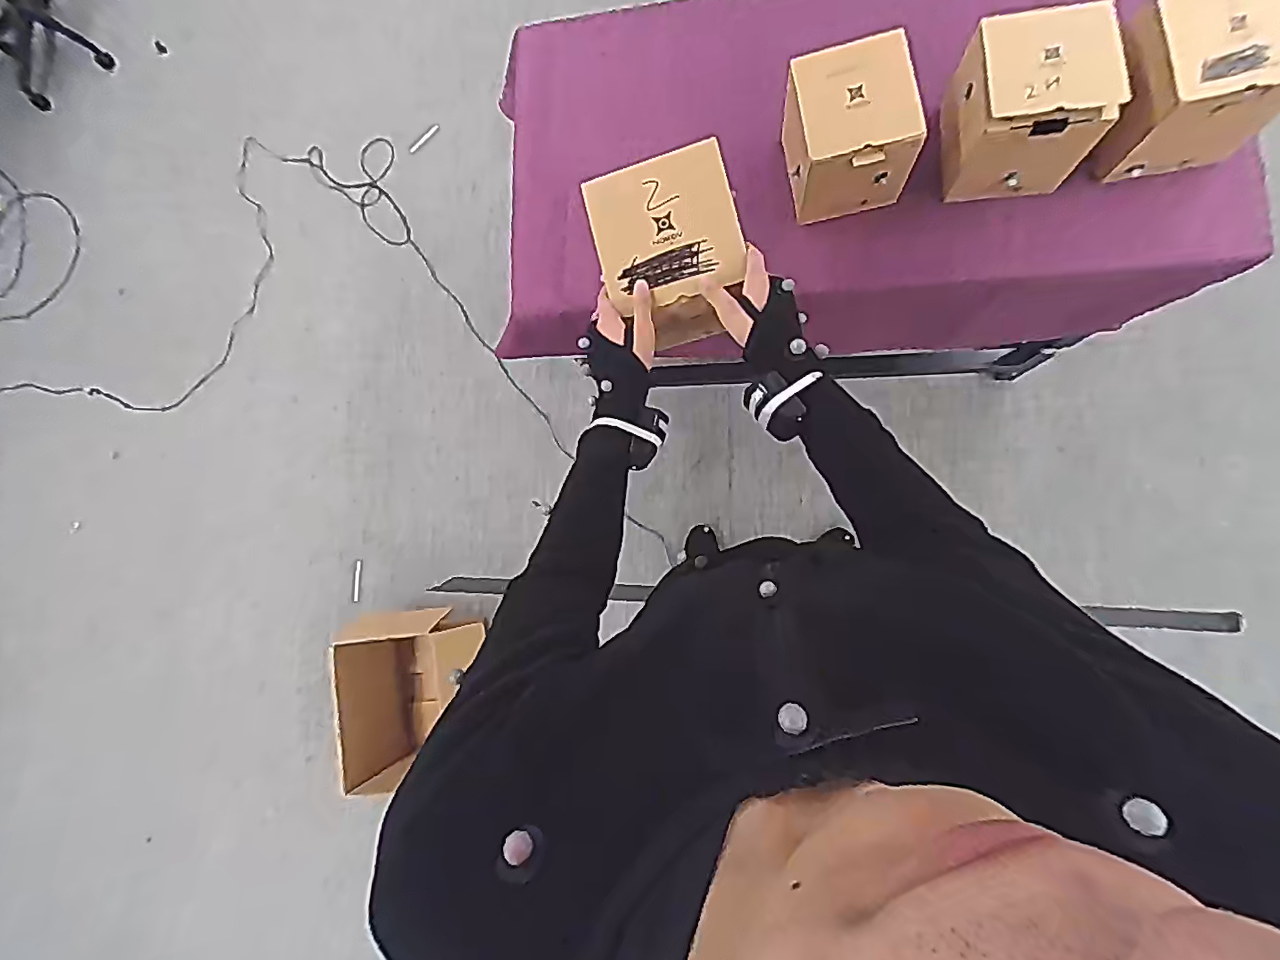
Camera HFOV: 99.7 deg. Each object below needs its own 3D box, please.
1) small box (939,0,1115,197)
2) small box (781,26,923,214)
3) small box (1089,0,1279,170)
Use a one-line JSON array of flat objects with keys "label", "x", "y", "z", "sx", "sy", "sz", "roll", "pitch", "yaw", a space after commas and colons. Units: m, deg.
[{"label": "small box", "x": 0.569, "y": -0.565, "z": 0.820, "sx": 0.168, "sy": 0.176, "sz": 0.179, "roll": 0, "pitch": 85, "yaw": 11}, {"label": "small box", "x": 0.327, "y": -0.555, "z": 0.867, "sx": 0.168, "sy": 0.176, "sz": 0.179, "roll": -10, "pitch": 82, "yaw": 9}, {"label": "small box", "x": 0.785, "y": -0.581, "z": 0.781, "sx": 0.168, "sy": 0.176, "sz": 0.179, "roll": -6, "pitch": 82, "yaw": 10}]
